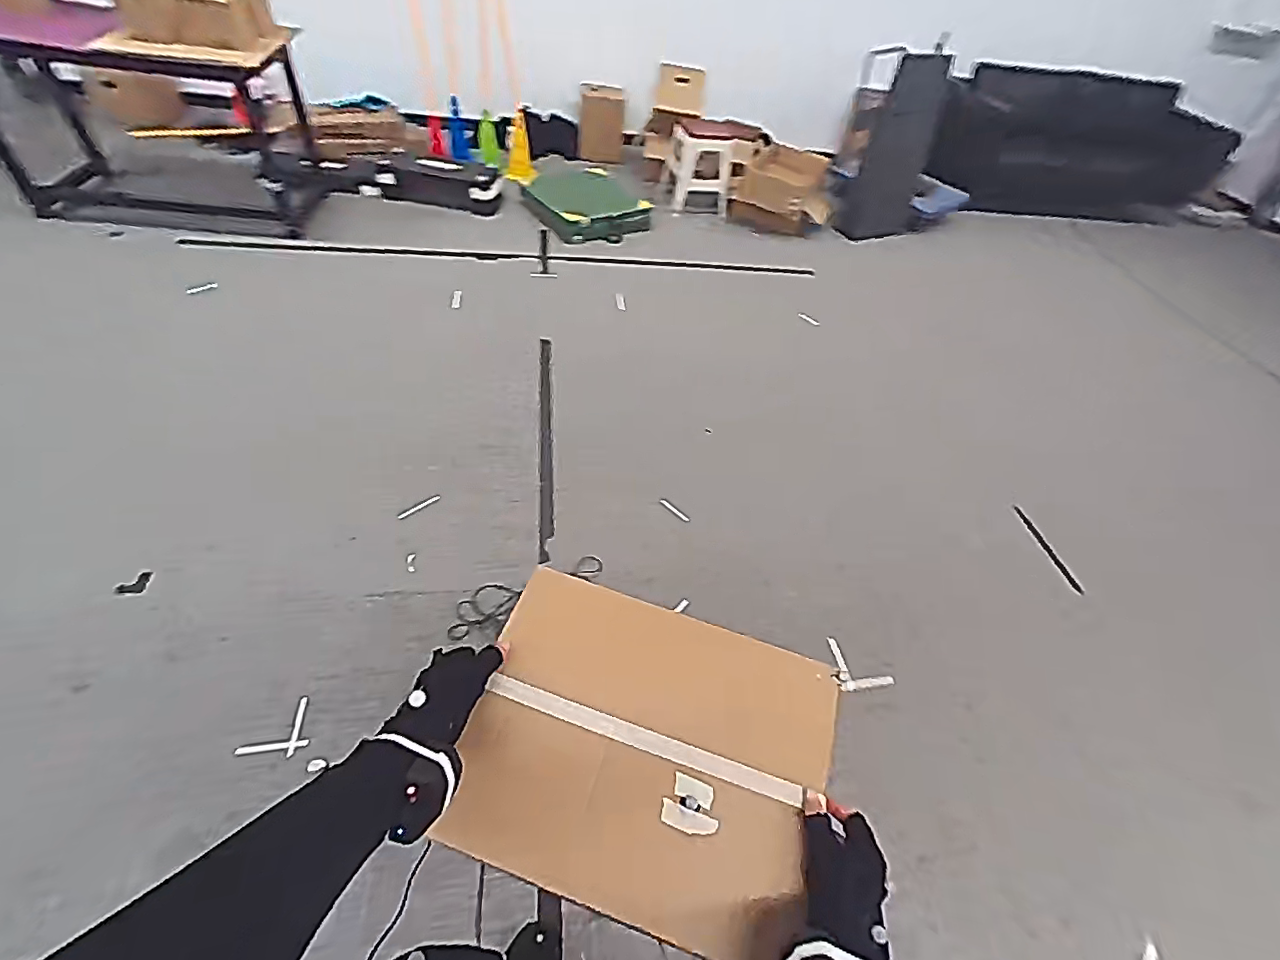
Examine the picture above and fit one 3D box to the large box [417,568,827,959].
[{"bbox_3d":[-0.010,0.374,0.734,0.408,0.320,0.320,17,55,8],"label":"large box"}]
